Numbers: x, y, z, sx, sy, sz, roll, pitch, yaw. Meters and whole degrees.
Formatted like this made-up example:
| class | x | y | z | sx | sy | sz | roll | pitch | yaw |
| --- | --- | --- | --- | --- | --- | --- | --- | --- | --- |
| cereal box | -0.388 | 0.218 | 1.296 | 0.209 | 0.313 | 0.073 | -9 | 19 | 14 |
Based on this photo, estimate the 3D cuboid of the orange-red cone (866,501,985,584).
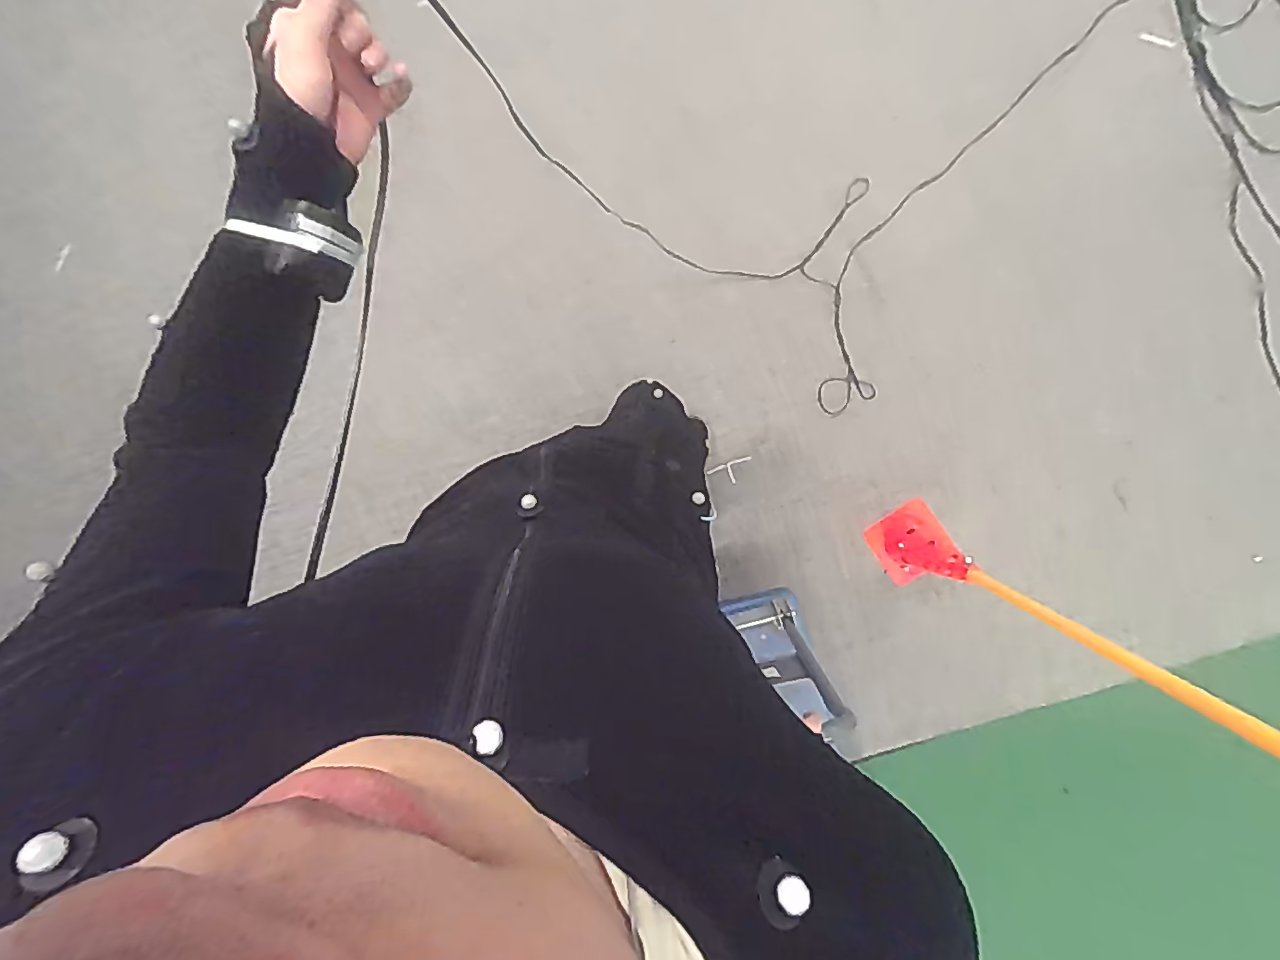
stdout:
| class | x | y | z | sx | sy | sz | roll | pitch | yaw |
| --- | --- | --- | --- | --- | --- | --- | --- | --- | --- |
| orange-red cone | 0.776 | 0.200 | 1.403 | 0.199 | 0.360 | 0.198 | -34 | 94 | 5 |
